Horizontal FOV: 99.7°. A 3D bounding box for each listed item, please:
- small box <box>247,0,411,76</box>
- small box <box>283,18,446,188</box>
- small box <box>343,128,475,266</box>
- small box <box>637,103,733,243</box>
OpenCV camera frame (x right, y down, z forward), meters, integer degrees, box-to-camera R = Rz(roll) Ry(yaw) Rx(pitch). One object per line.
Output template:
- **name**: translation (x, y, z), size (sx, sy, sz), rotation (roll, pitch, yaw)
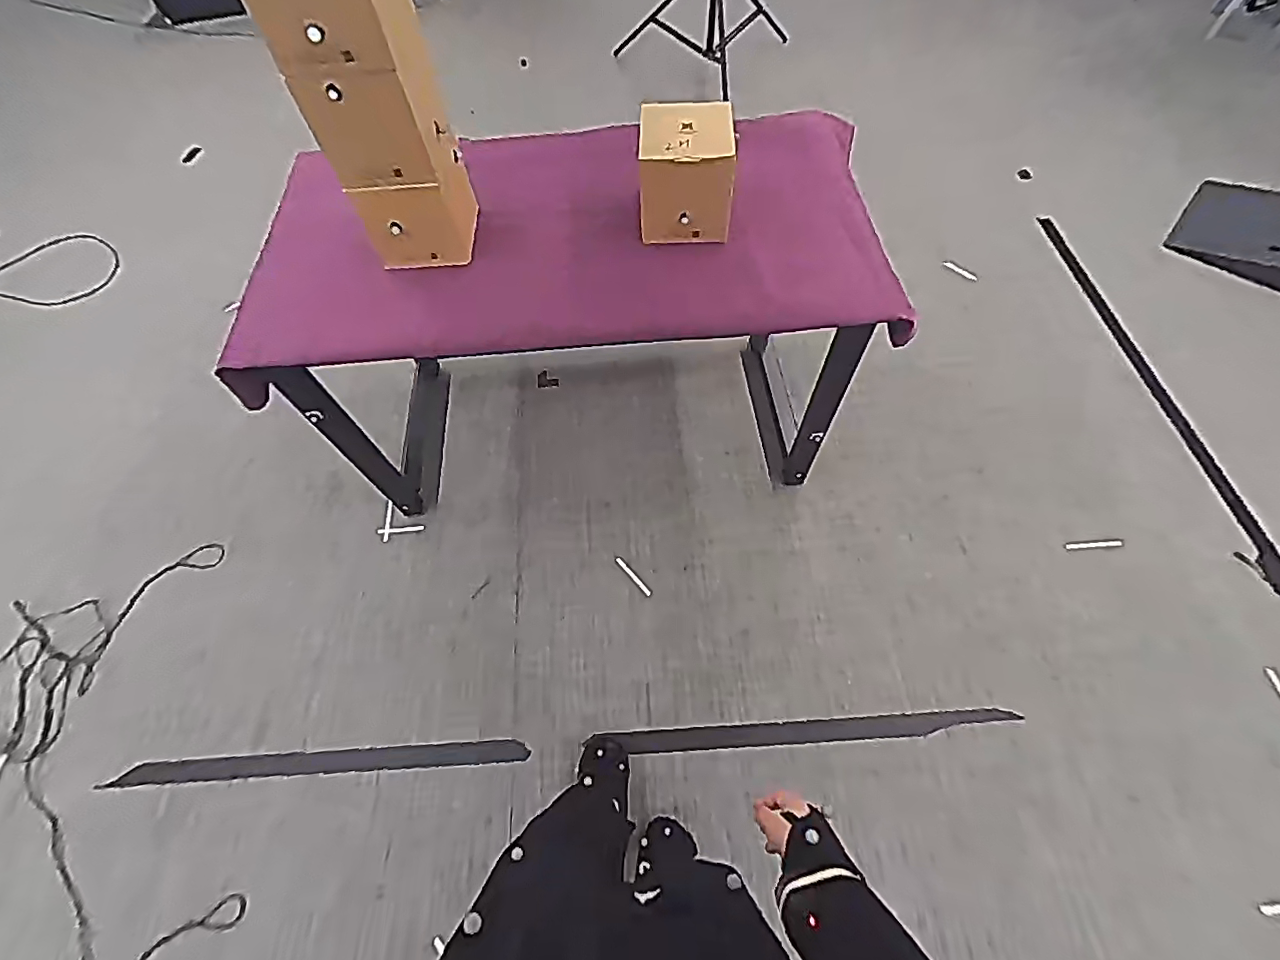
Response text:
- **small box**: translation (-0.428, -0.682, 0.728), size (0.168, 0.176, 0.179), rotation (-4, 62, 0)
- **small box**: translation (-0.427, -0.605, 0.874), size (0.168, 0.176, 0.179), rotation (-4, 61, 0)
- **small box**: translation (-0.420, -0.521, 1.015), size (0.168, 0.176, 0.179), rotation (-4, 61, 0)
- **small box**: translation (0.081, -0.575, 1.021), size (0.168, 0.176, 0.179), rotation (0, 62, 3)
